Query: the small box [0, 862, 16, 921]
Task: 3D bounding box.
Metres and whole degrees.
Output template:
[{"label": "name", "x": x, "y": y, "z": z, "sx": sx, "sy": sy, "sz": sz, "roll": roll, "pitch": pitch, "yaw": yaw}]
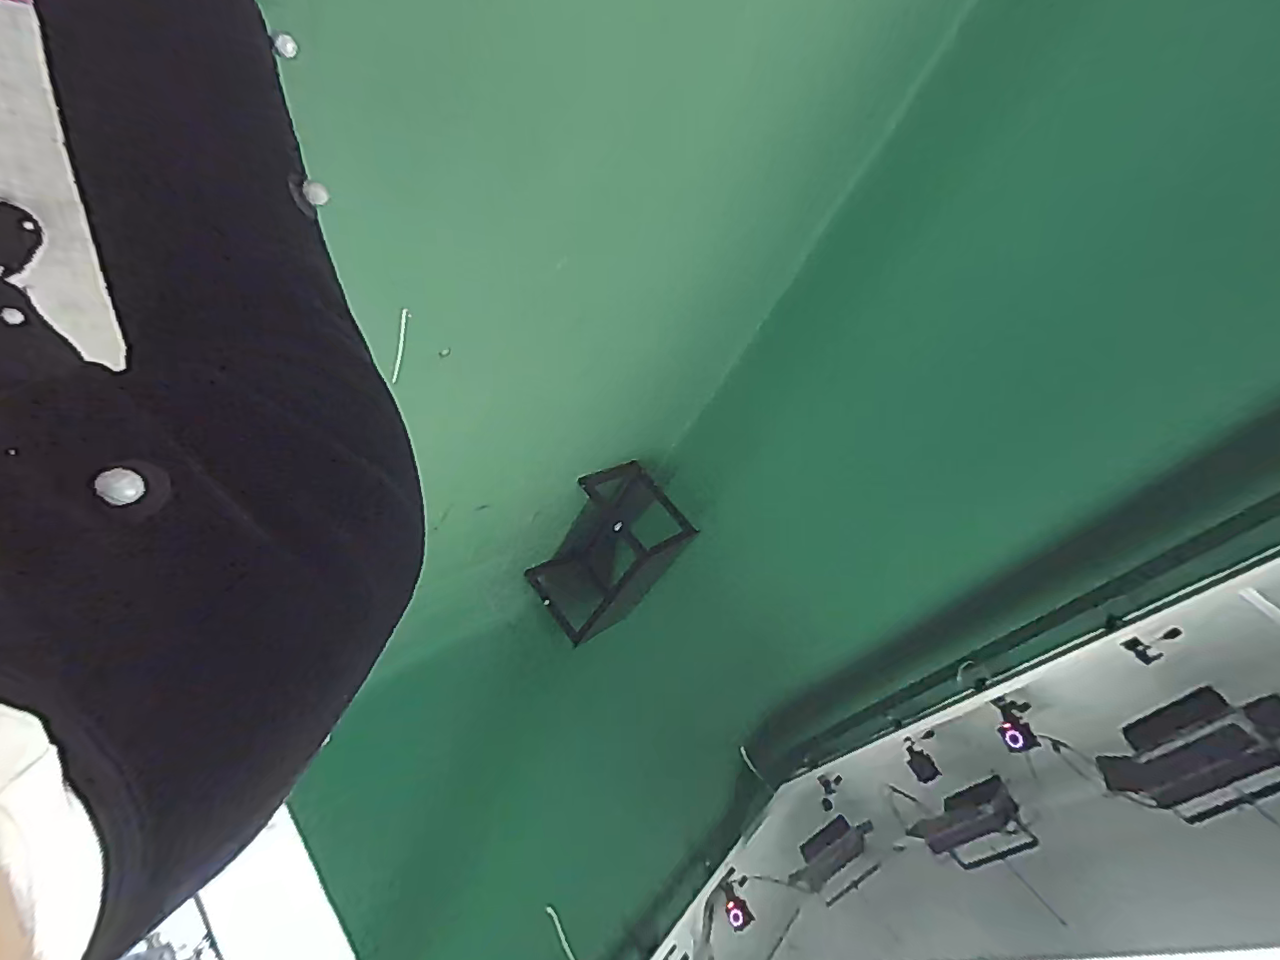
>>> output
[{"label": "small box", "x": -1.788, "y": 1.120, "z": 1.412, "sx": 0.168, "sy": 0.176, "sz": 0.179, "roll": -20, "pitch": 152, "yaw": -47}]
